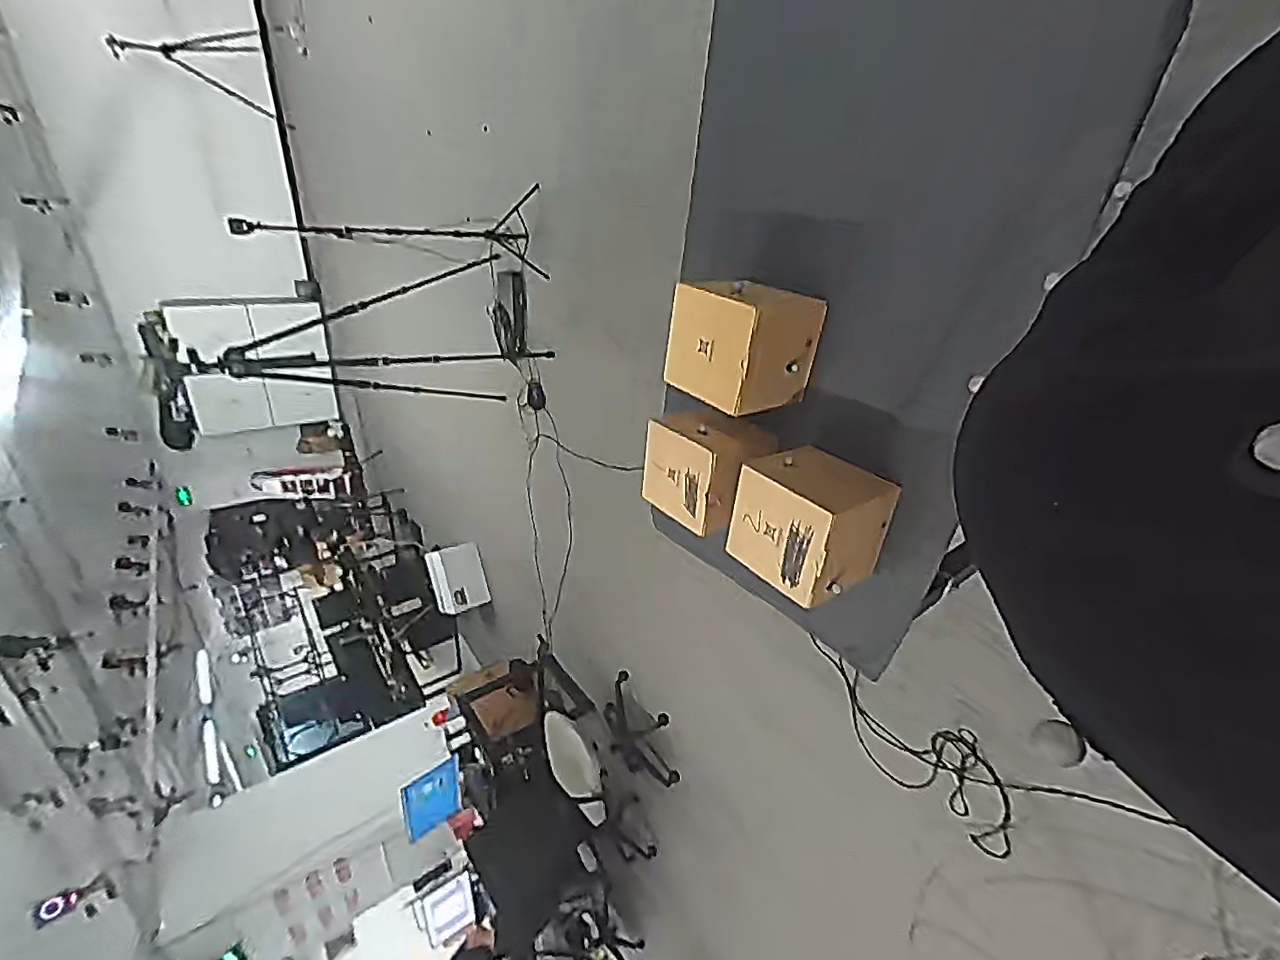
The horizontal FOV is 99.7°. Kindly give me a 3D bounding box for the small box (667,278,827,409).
[{"bbox_3d":[0.172,-0.231,0.893,0.179,0.176,0.168,35,129,41],"label":"small box"}]

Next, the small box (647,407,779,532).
[{"bbox_3d":[0.136,-0.031,1.020,0.179,0.176,0.168,33,128,44],"label":"small box"}]
